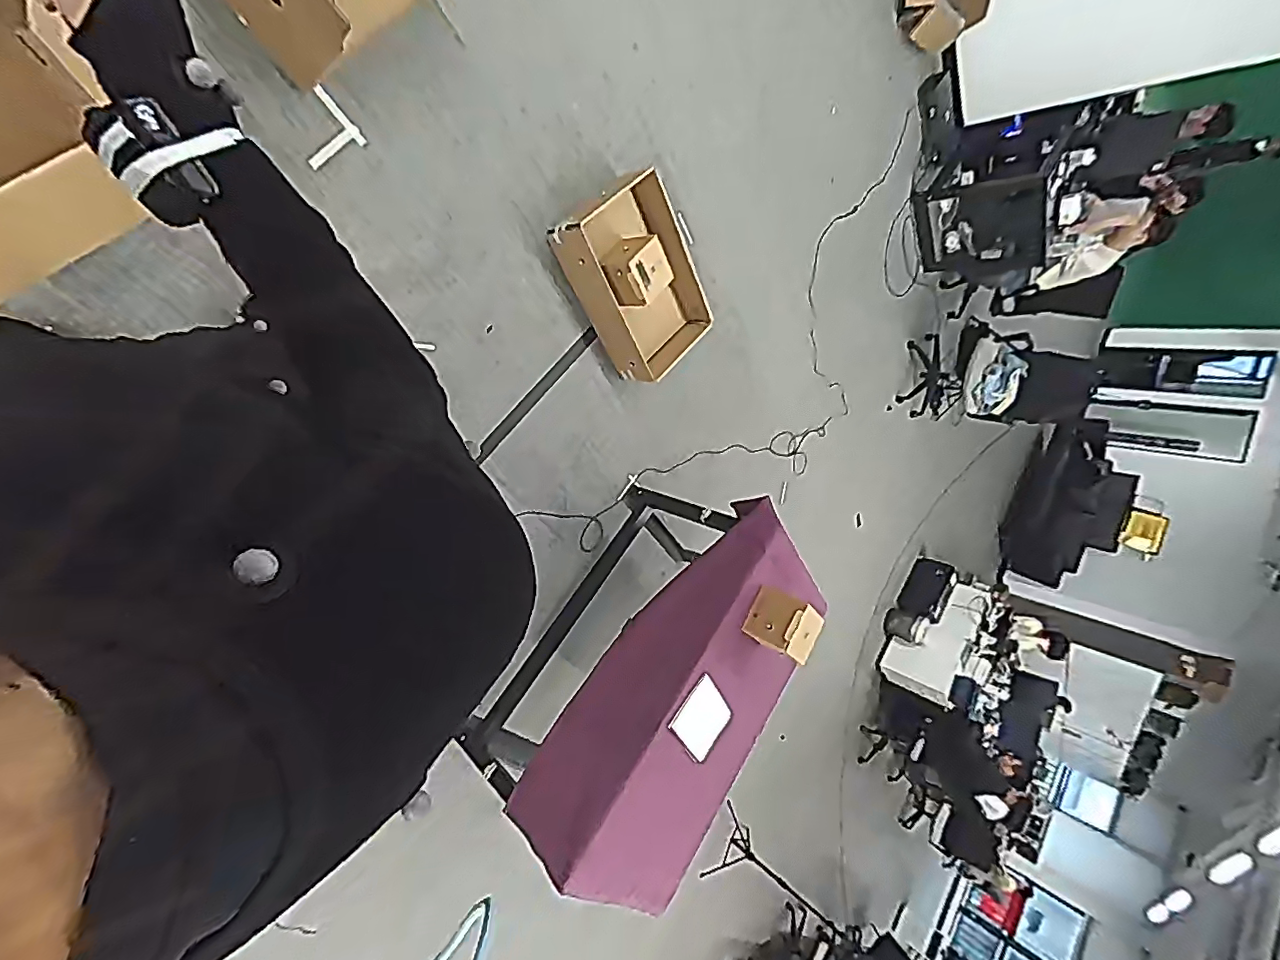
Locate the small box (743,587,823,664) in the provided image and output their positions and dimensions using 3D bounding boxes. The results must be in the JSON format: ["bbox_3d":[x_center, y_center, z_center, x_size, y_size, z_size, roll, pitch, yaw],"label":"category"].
[{"bbox_3d":[0.465,0.468,1.766,0.179,0.176,0.168,43,73,-43],"label":"small box"}]
